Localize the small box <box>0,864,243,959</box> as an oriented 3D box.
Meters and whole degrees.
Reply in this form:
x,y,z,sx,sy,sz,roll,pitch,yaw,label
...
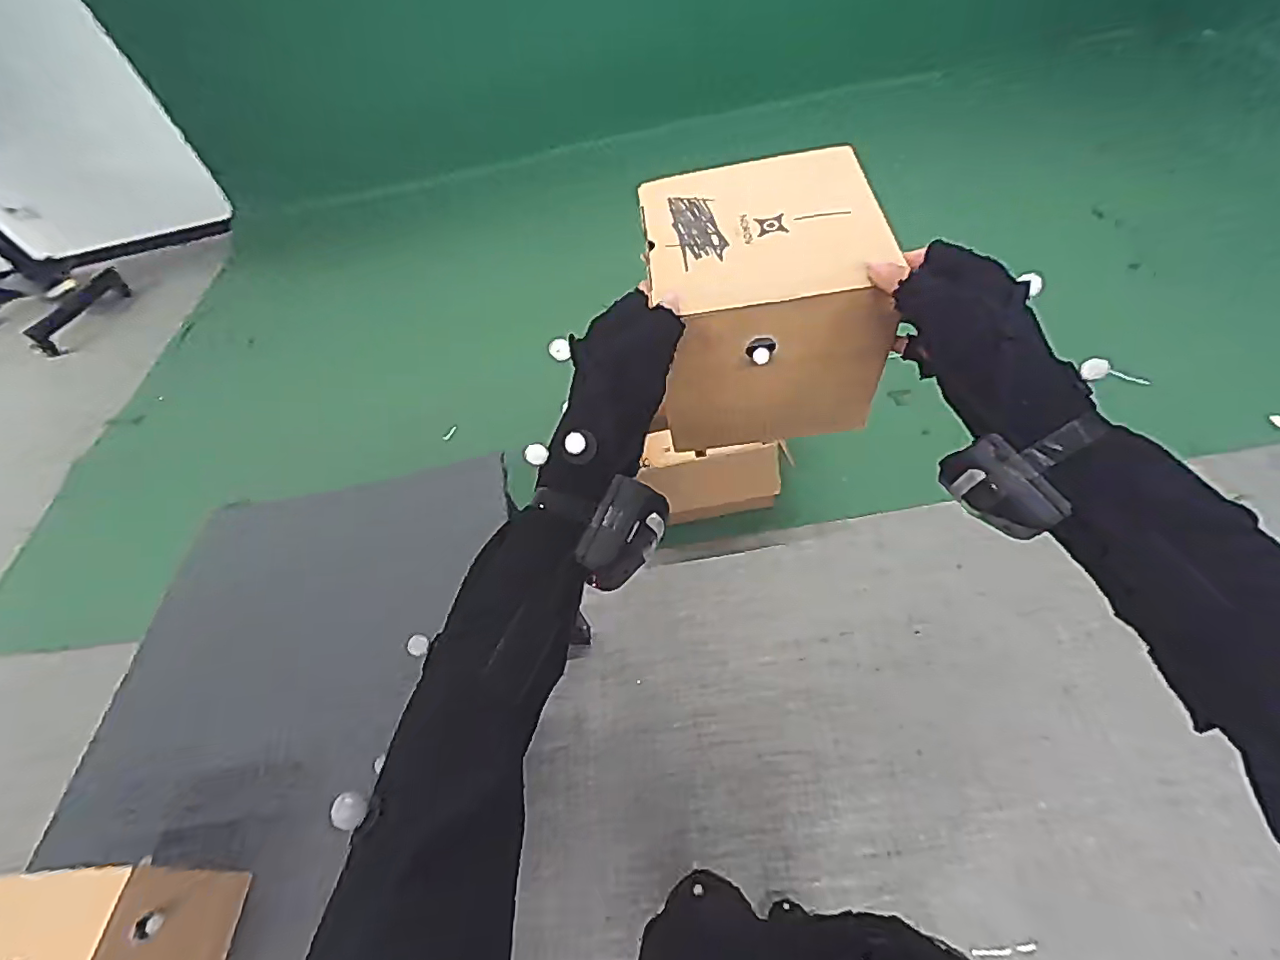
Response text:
x,y,z,sx,sy,sz,roll,pitch,yaw,label
-0.561,0.509,0.554,0.168,0.176,0.179,-8,52,6,small box

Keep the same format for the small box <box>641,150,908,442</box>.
x,y,z,sx,sy,sz,roll,pitch,yaw,label
0.102,-0.147,0.472,0.179,0.176,0.168,-6,59,6,small box
